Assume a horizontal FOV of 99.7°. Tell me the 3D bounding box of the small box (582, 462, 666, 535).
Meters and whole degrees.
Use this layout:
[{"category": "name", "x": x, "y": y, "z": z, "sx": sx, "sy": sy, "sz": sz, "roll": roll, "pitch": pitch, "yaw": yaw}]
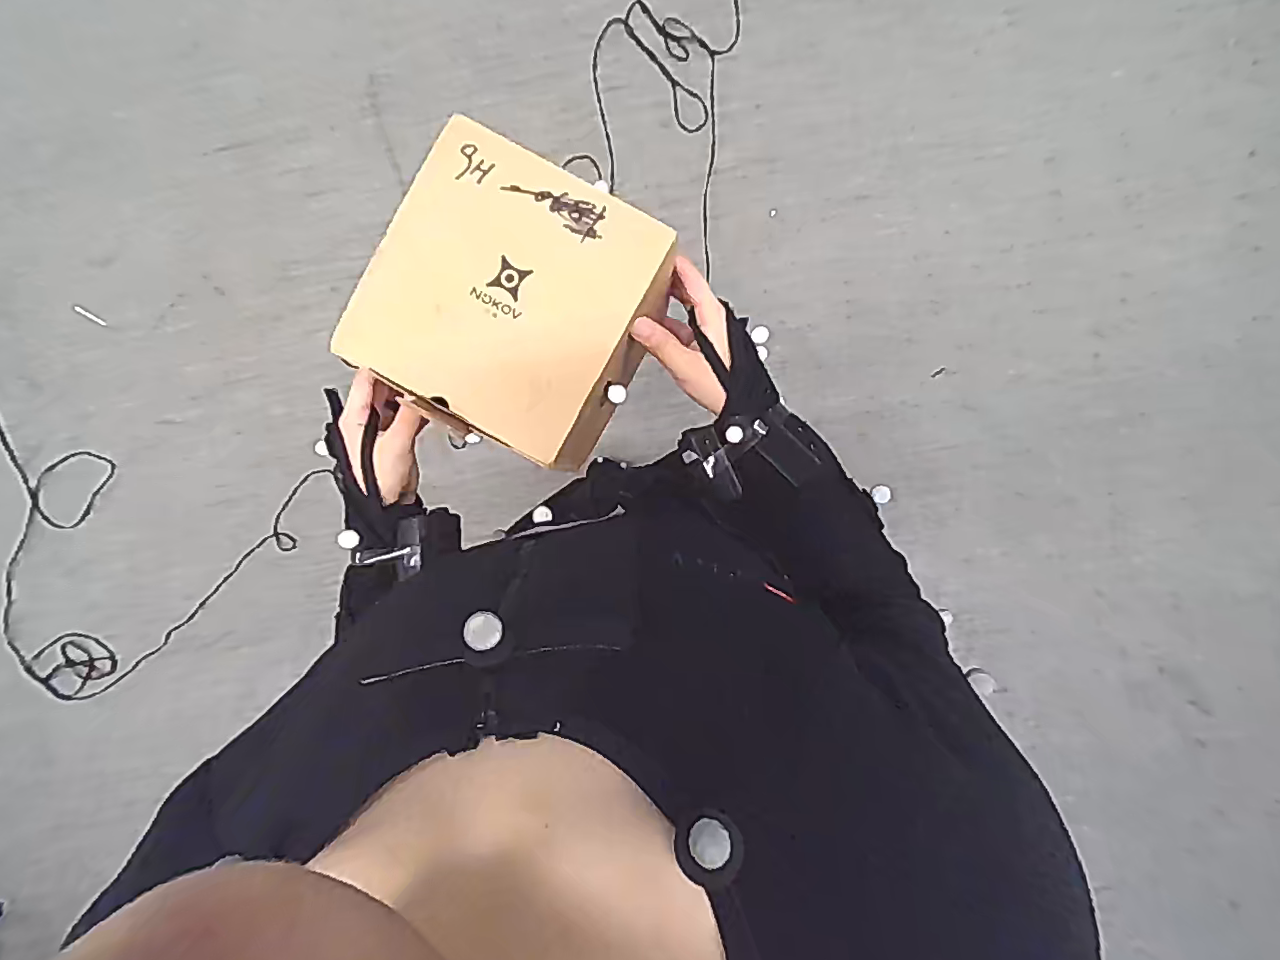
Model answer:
[{"category": "small box", "x": -0.038, "y": 0.043, "z": 1.326, "sx": 0.179, "sy": 0.176, "sz": 0.168, "roll": 3, "pitch": 90, "yaw": 13}]
